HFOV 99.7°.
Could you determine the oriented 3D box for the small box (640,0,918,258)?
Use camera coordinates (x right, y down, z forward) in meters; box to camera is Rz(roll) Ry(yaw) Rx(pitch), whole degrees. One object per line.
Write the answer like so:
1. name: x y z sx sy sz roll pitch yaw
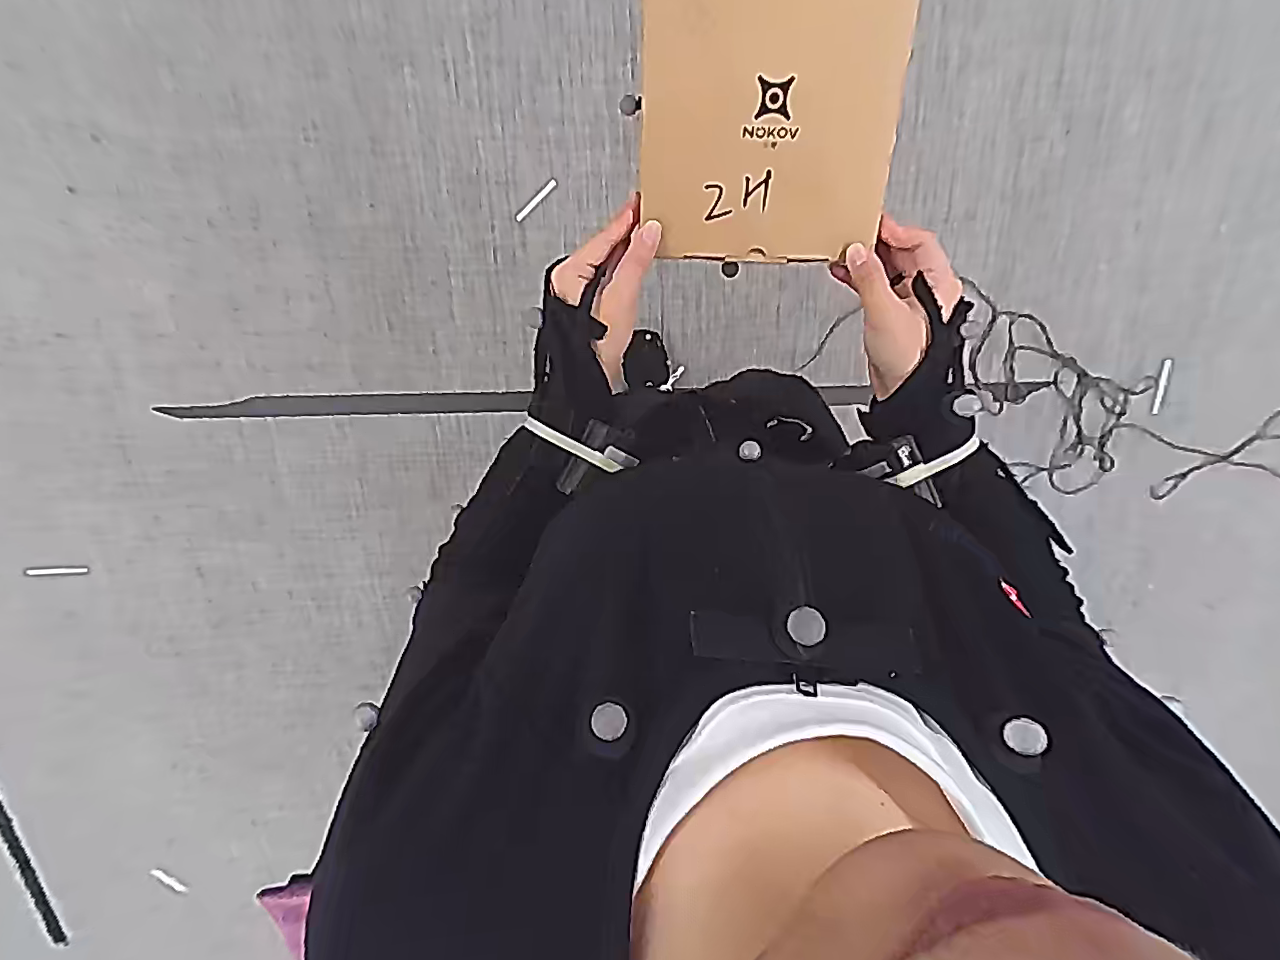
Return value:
1. small box: 0.085 -0.272 0.423 0.168 0.176 0.179 2 113 0
